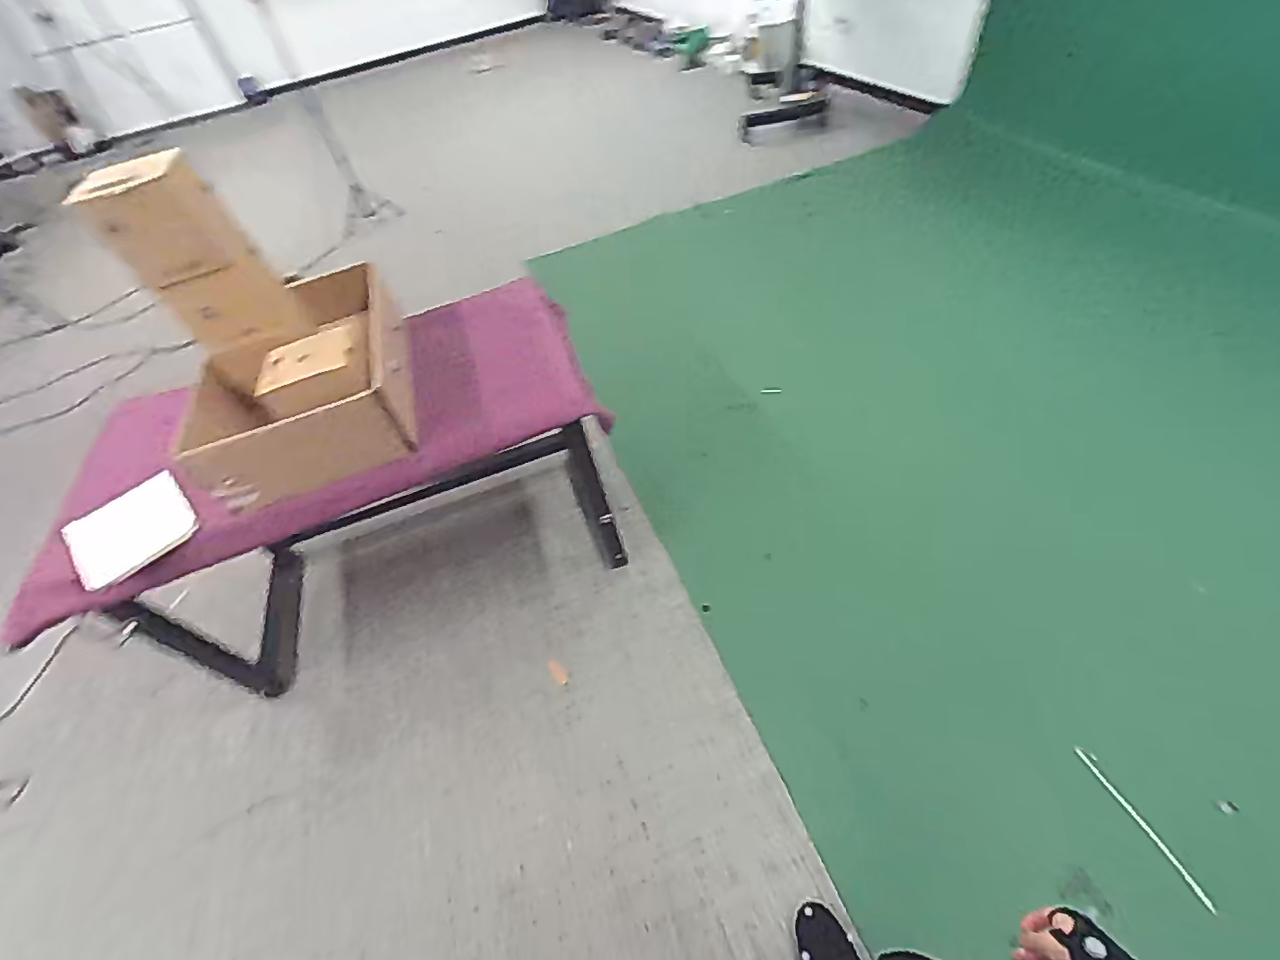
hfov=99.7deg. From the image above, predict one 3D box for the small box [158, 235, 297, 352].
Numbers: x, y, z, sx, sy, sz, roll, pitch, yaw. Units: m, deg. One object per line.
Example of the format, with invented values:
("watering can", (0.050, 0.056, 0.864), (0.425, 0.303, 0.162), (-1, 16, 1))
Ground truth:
("small box", (-0.891, -0.402, 1.191), (0.168, 0.176, 0.179), (-19, 50, -5))
